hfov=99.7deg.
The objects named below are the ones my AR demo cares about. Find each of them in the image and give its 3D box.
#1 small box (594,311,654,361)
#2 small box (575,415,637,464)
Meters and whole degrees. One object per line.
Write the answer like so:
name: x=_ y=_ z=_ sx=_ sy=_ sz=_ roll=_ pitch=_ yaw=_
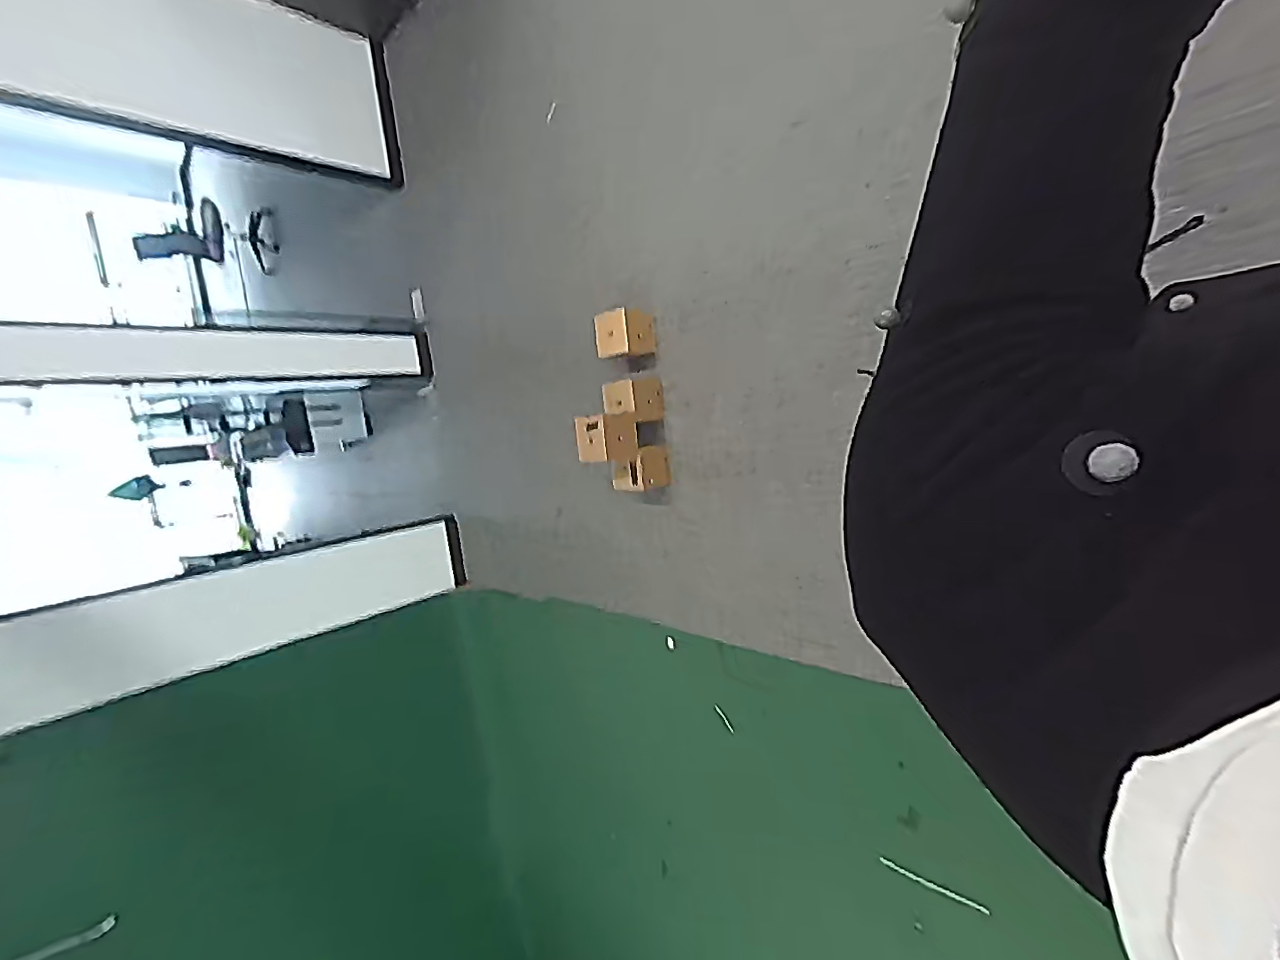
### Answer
small box: x=-0.058 y=-0.571 z=2.157 sx=0.179 sy=0.176 sz=0.168 roll=0 pitch=99 yaw=45
small box: x=-0.129 y=-0.157 z=2.077 sx=0.168 sy=0.176 sz=0.179 roll=2 pitch=101 yaw=44
